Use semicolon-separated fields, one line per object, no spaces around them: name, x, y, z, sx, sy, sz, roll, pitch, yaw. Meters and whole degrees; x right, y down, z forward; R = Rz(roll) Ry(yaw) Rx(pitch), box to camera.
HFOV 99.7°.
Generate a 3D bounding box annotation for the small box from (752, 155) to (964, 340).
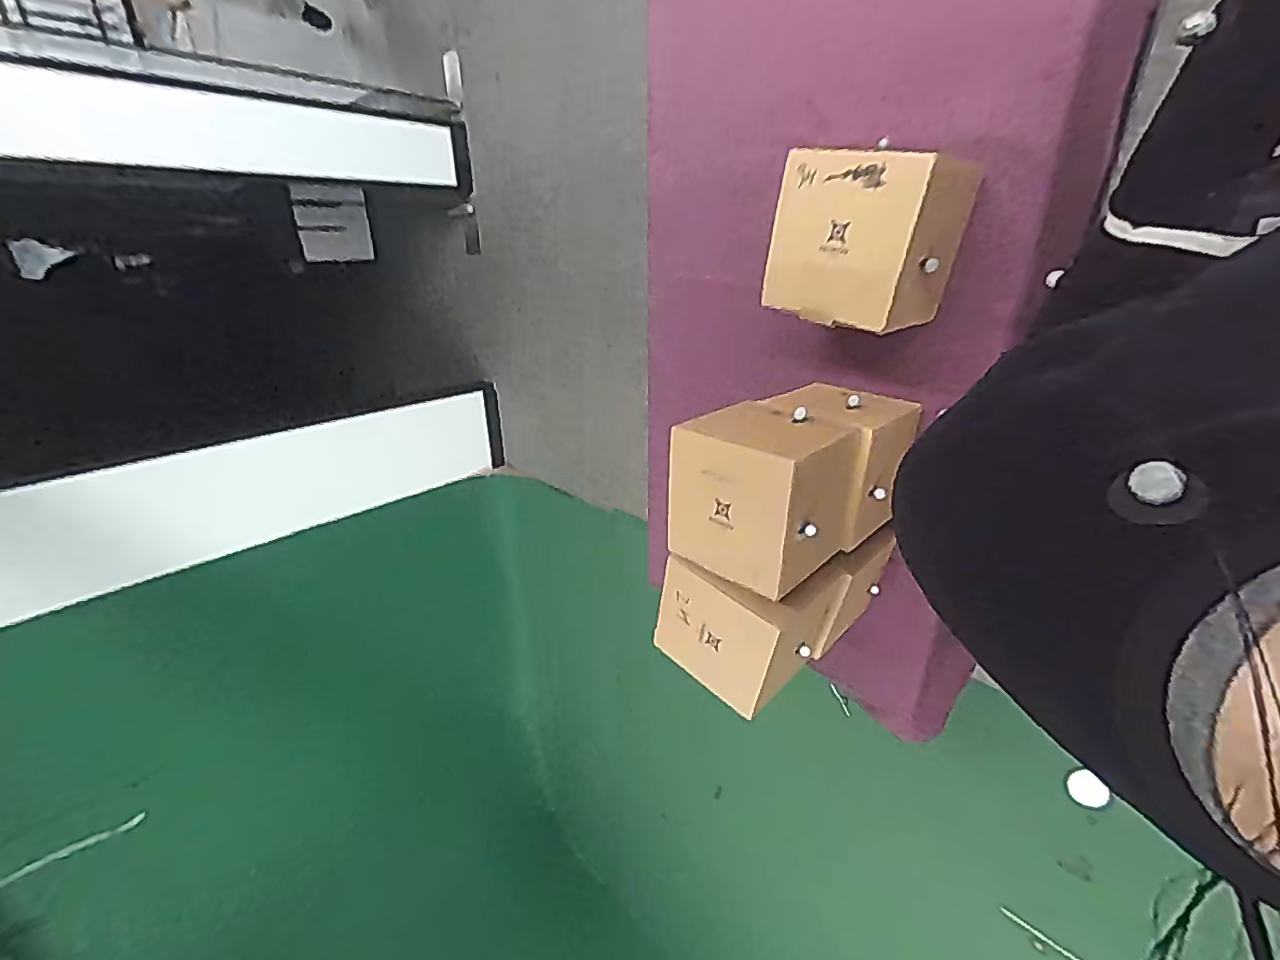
small box;0.264;-0.286;0.661;0.168;0.176;0.179;28;125;35
